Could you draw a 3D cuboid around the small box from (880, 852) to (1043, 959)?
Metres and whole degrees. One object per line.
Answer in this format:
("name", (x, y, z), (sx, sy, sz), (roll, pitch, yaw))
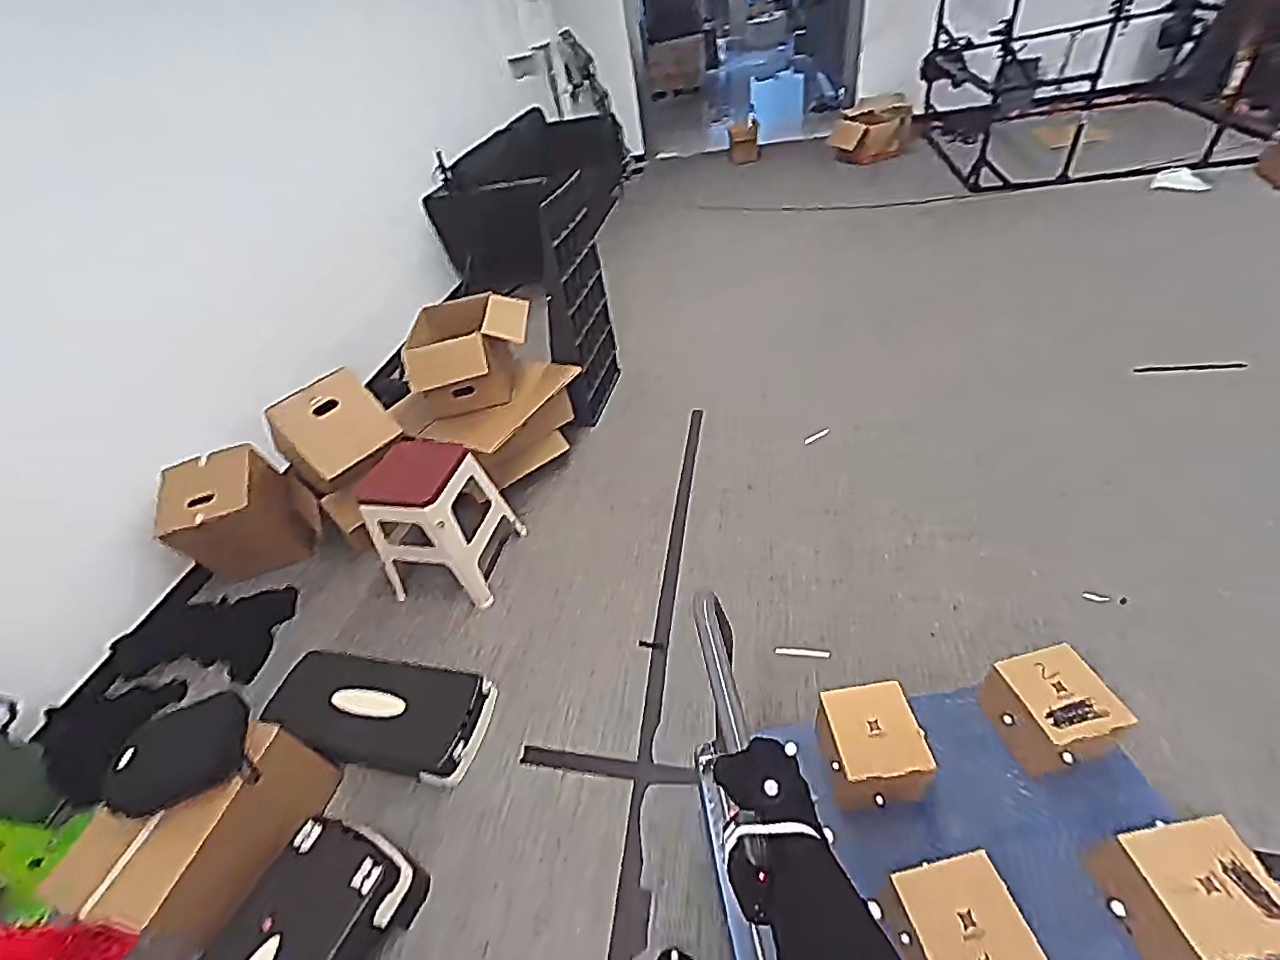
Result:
("small box", (0.518, 0.751, 0.886), (0.168, 0.176, 0.179), (-13, 41, -1))

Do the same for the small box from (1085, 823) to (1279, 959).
("small box", (0.886, 0.685, 0.875), (0.179, 0.176, 0.168), (-12, 41, 2))

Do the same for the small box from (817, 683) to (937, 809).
("small box", (0.476, 0.551, 1.120), (0.168, 0.176, 0.179), (-9, 43, 2))
